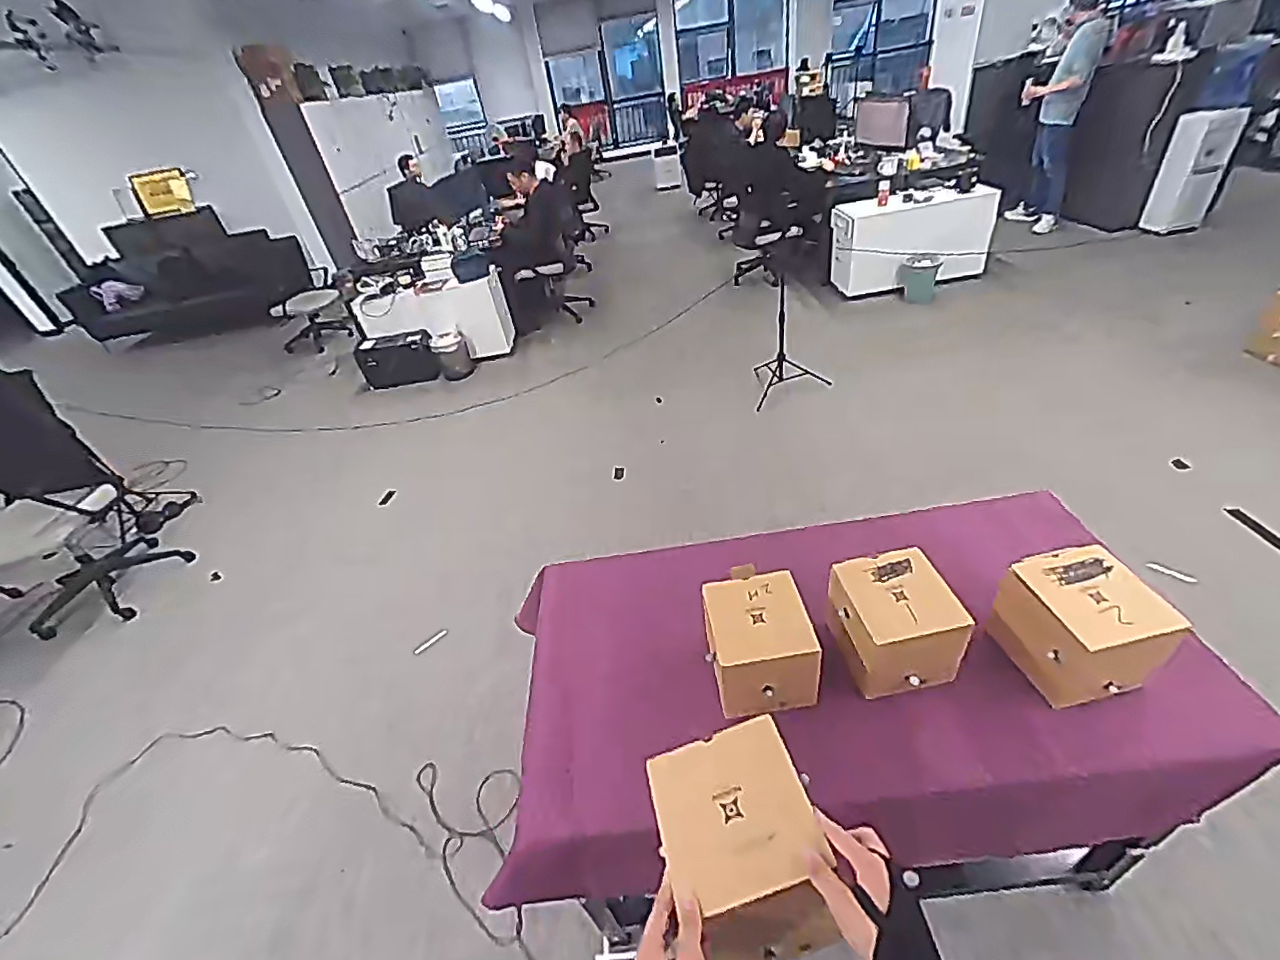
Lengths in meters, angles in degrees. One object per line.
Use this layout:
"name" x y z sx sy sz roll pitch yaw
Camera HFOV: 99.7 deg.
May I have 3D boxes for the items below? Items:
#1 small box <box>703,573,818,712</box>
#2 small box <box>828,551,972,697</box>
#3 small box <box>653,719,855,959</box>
"small box" 0.215 0.301 0.984 0.168 0.176 0.179 -10 37 1
"small box" 0.453 0.259 0.979 0.168 0.176 0.179 -12 38 -1
"small box" 0.128 0.427 0.633 0.168 0.176 0.179 -21 28 1
